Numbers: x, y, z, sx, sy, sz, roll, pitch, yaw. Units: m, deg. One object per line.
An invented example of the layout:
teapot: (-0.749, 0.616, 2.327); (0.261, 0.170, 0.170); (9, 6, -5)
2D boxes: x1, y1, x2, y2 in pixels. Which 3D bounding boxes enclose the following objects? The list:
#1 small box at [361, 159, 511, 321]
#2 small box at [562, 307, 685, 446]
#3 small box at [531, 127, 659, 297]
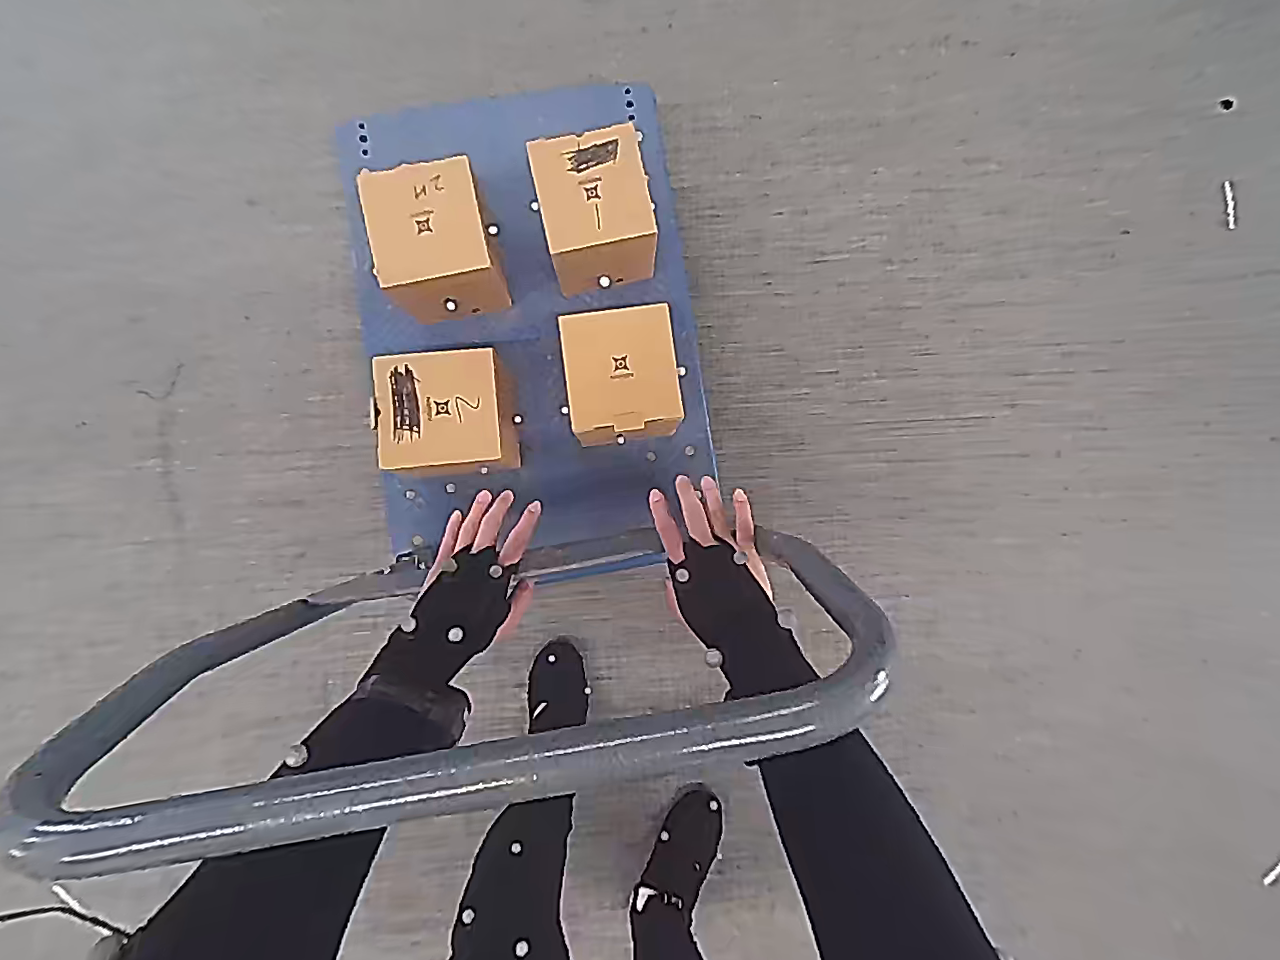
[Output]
small box: (-0.315, -0.370, 0.870); (0.168, 0.176, 0.179); (-12, 88, -3)
small box: (-0.029, -0.158, 0.870); (0.168, 0.176, 0.179); (-8, 88, -3)
small box: (-0.070, -0.425, 0.880); (0.168, 0.176, 0.179); (-12, 89, -2)
